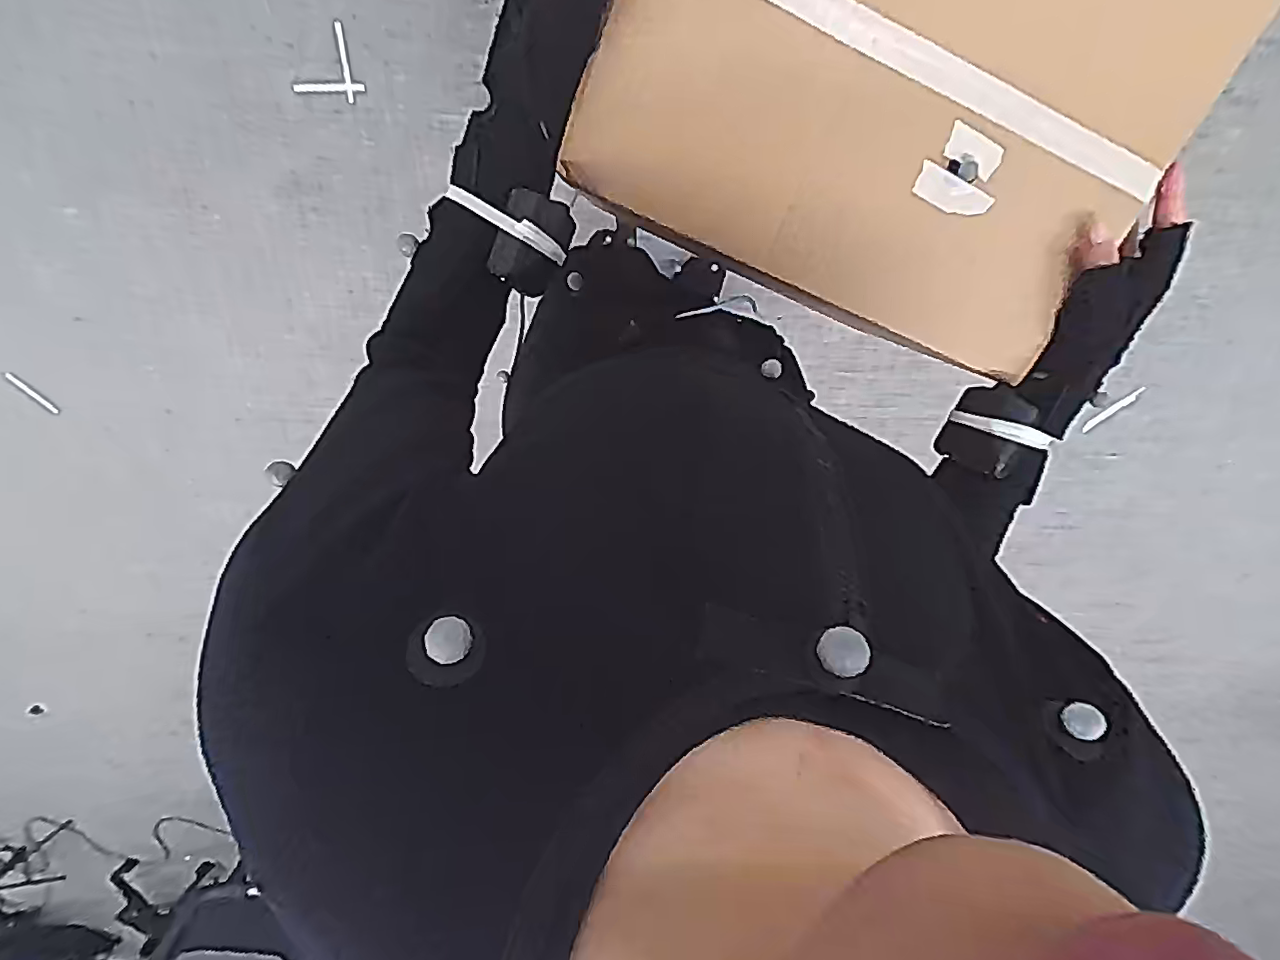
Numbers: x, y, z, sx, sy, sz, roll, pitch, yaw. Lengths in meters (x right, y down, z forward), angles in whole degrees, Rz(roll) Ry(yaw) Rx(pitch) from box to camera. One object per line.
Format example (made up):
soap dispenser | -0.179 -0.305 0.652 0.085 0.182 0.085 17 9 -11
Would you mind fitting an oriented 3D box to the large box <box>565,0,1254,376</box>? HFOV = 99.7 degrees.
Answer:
large box | 0.178 -0.342 0.513 0.408 0.320 0.320 21 113 -10
